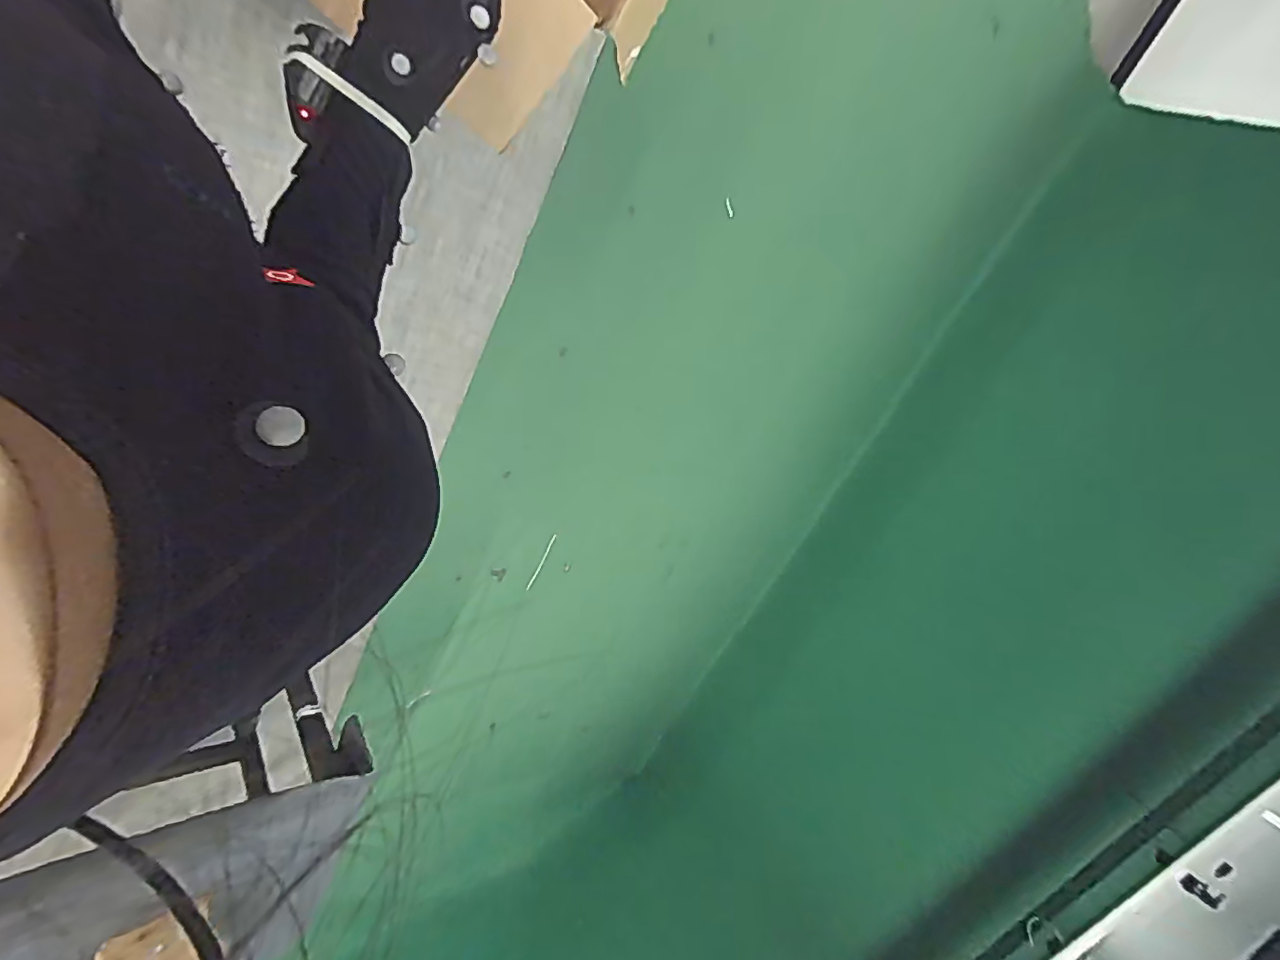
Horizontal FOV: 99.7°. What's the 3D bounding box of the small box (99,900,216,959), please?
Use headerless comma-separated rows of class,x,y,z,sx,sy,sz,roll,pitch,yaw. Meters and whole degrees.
small box,-0.967,1.000,1.080,0.168,0.176,0.179,5,120,-49
